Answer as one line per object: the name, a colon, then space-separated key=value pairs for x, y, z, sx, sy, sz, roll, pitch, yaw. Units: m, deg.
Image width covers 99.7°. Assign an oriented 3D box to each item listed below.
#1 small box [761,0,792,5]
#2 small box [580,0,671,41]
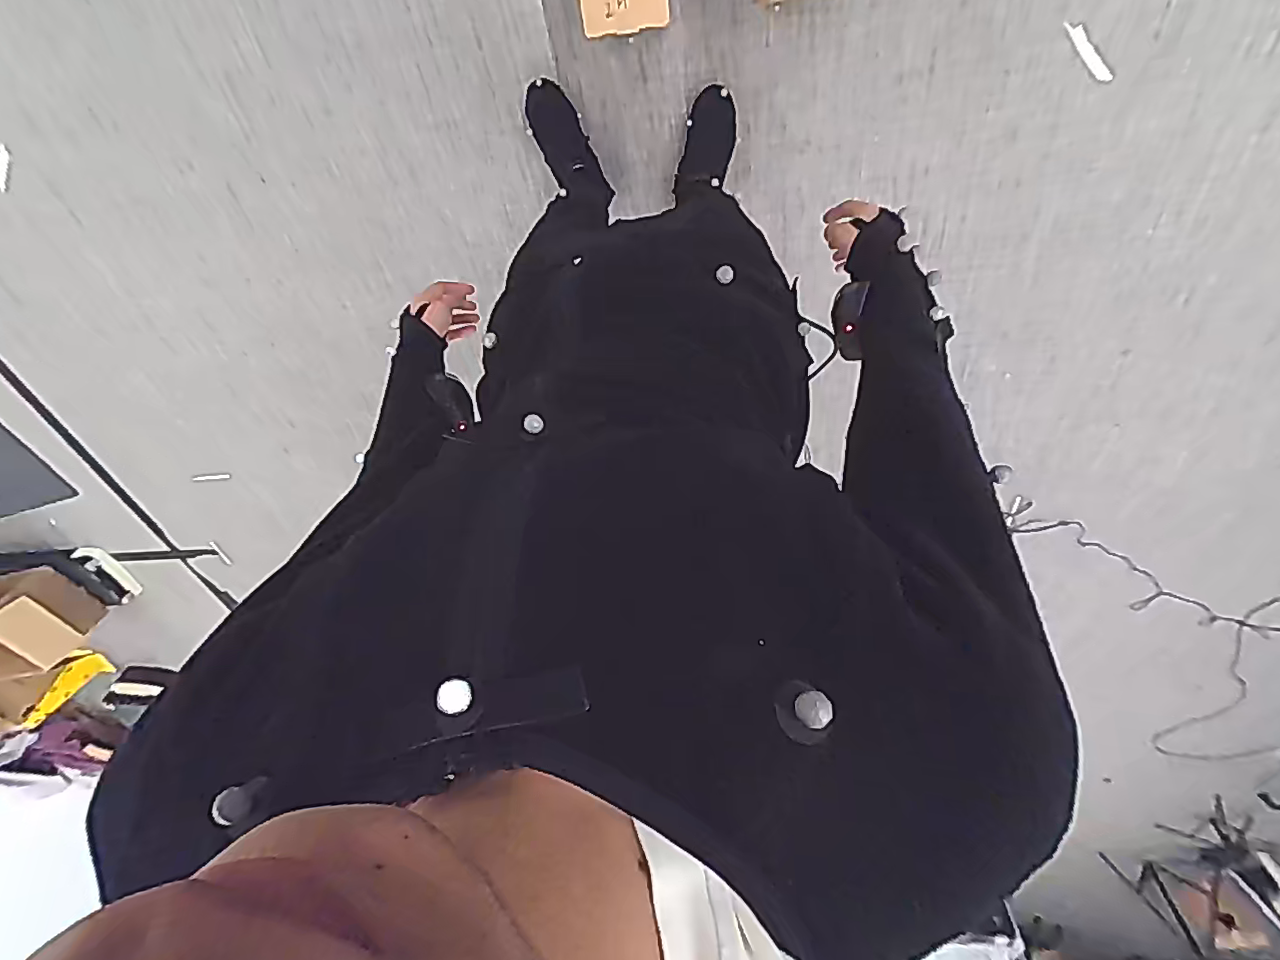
small box: x=0.305 y=-0.997 z=0.985 sx=0.168 sy=0.176 sz=0.179 roll=-7 pitch=127 yaw=8
small box: x=-0.031 y=-0.961 z=1.031 sx=0.168 sy=0.176 sz=0.179 roll=-4 pitch=129 yaw=7
